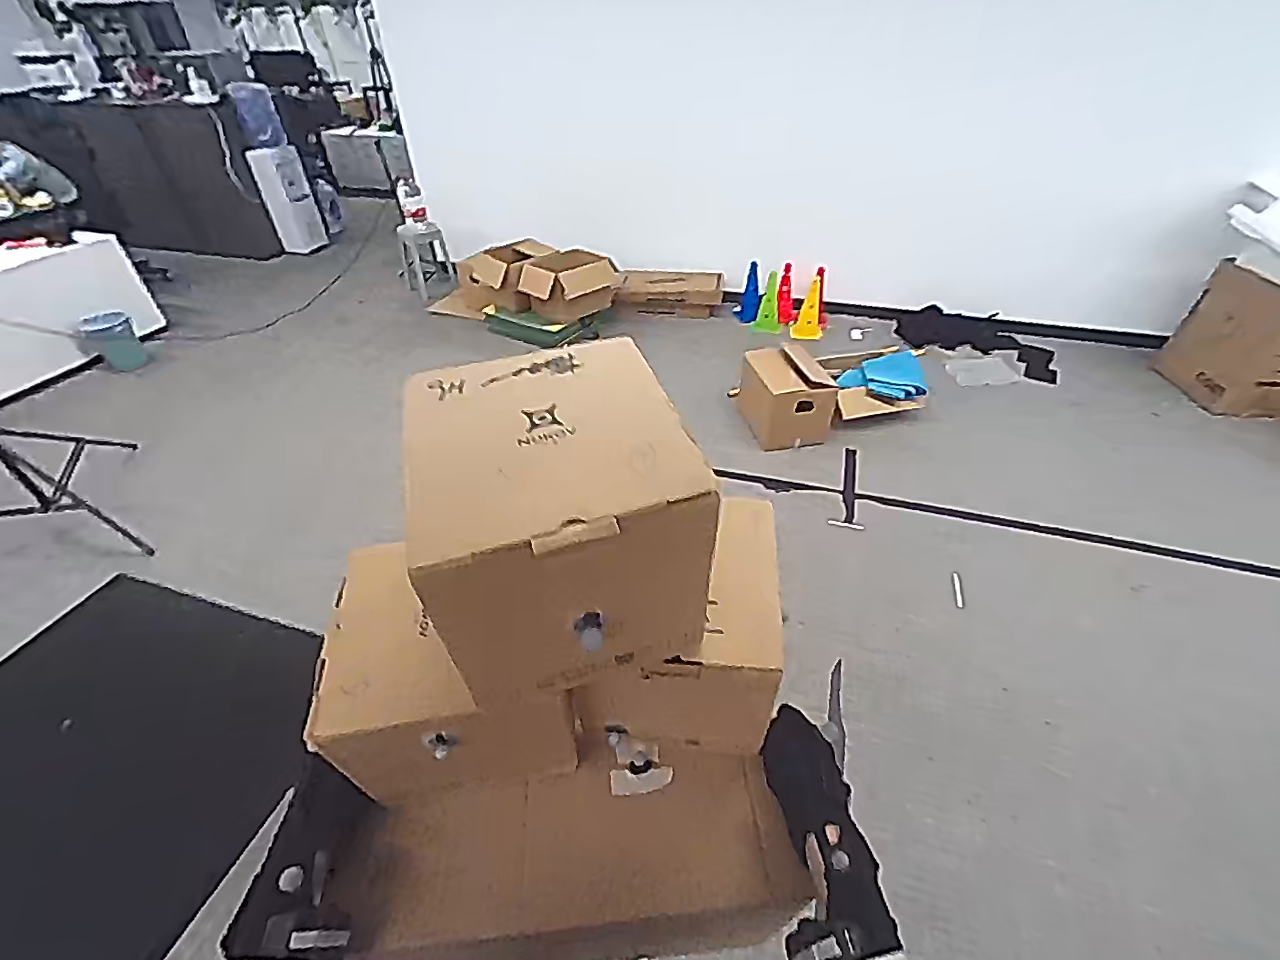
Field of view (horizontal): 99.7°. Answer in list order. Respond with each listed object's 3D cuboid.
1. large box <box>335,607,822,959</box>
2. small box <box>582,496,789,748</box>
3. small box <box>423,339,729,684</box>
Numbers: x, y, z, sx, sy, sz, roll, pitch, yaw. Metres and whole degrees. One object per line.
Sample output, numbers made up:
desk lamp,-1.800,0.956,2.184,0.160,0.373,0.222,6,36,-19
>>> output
large box,-0.059,0.351,0.642,0.408,0.320,0.320,-4,45,-4
small box,0.044,0.131,0.515,0.168,0.176,0.179,4,43,7
small box,-0.049,0.026,0.393,0.168,0.176,0.179,-13,46,-11
